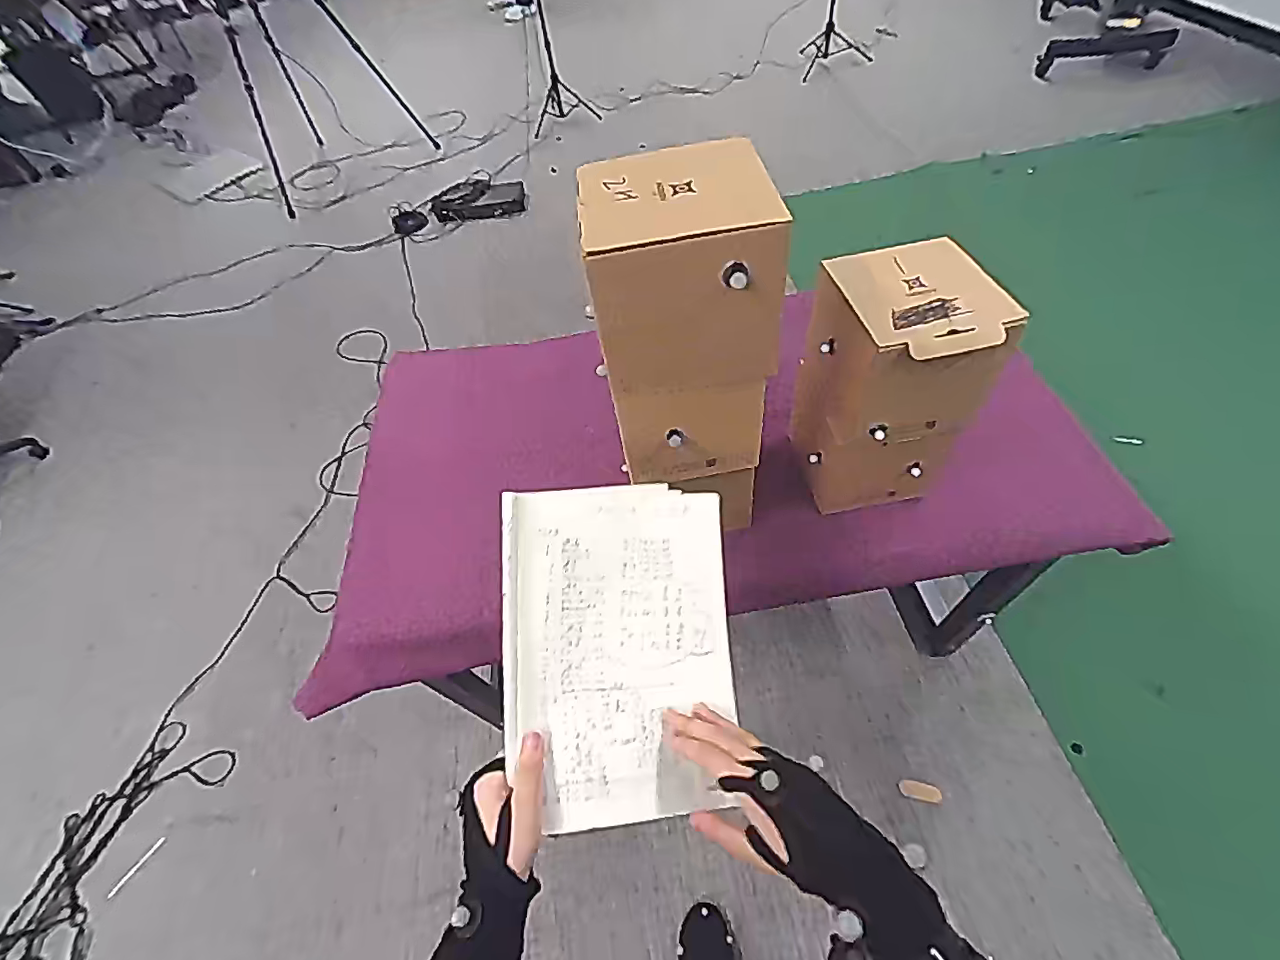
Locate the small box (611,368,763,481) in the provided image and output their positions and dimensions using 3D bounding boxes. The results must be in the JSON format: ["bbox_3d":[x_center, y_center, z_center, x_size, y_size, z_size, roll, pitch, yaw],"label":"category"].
[{"bbox_3d":[0.054,-0.114,0.687,0.168,0.176,0.179,-10,53,1],"label":"small box"}]

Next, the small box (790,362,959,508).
[{"bbox_3d":[0.338,-0.072,0.820,0.168,0.176,0.179,-10,53,0],"label":"small box"}]

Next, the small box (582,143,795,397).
[{"bbox_3d":[0.043,-0.207,0.552,0.179,0.176,0.168,-9,52,3],"label":"small box"}]

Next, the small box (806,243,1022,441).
[{"bbox_3d":[0.325,-0.166,0.687,0.168,0.176,0.179,-10,52,-1],"label":"small box"}]
